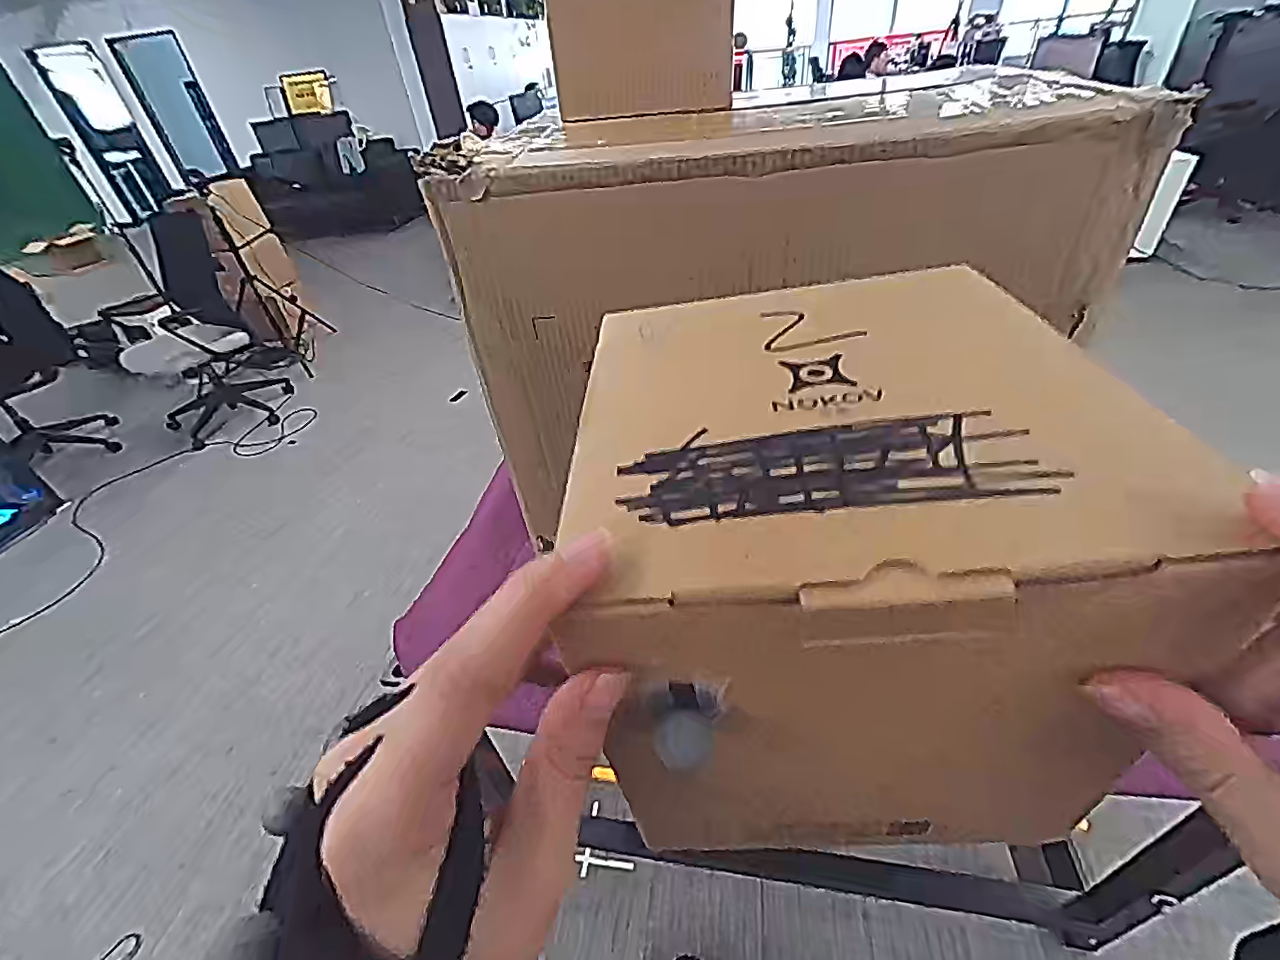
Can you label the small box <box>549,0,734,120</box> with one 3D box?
[{"bbox_3d":[0.005,-0.478,0.551,0.179,0.176,0.168,0,39,6],"label":"small box"}]
